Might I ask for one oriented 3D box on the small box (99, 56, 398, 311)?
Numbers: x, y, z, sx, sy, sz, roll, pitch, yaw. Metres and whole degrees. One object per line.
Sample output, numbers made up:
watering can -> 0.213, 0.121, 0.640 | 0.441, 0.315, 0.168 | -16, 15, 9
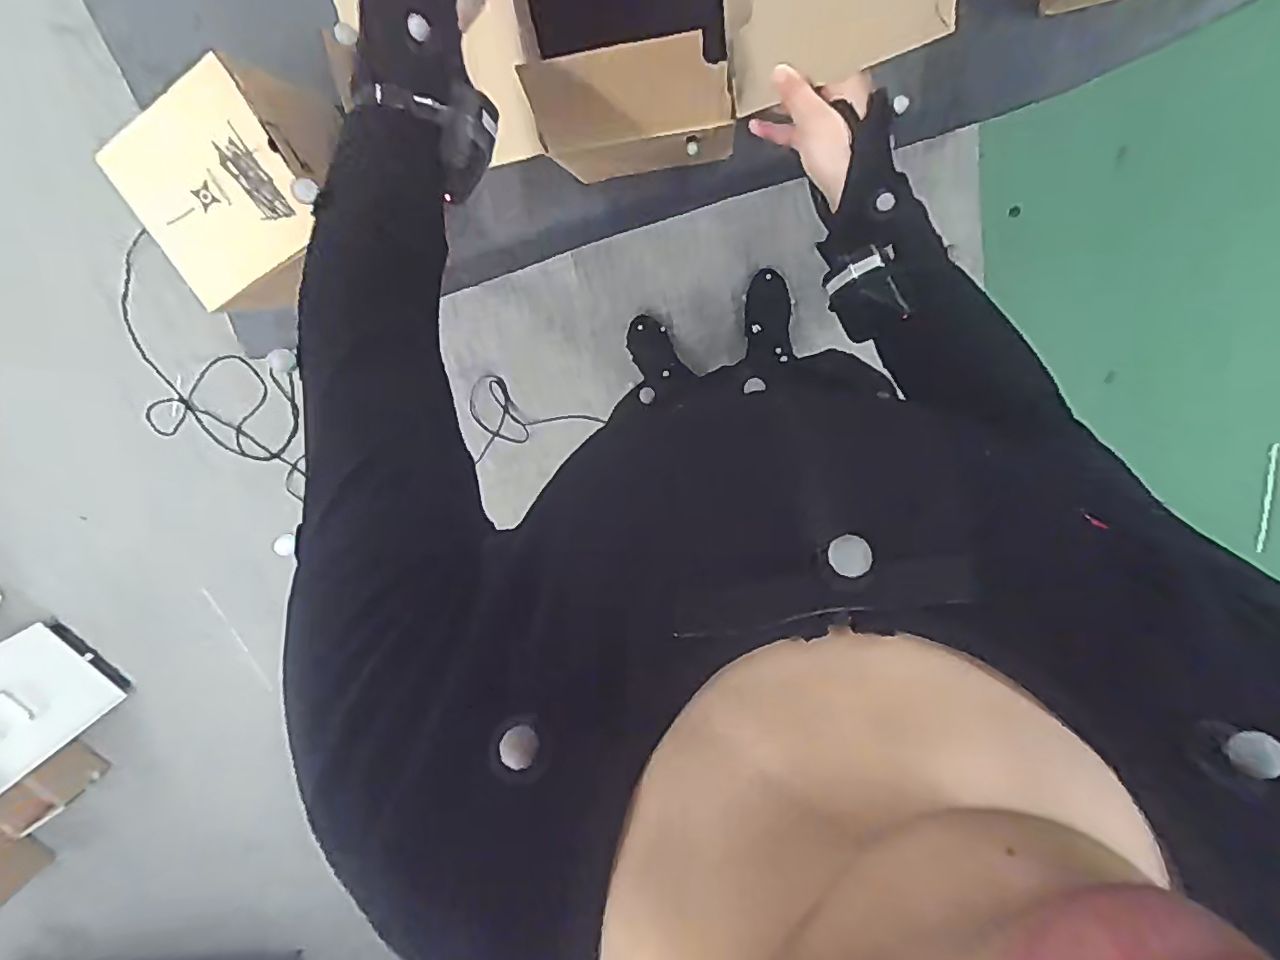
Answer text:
small box -> -0.401, -0.309, 0.595 | 0.179, 0.176, 0.168 | -23, 109, 15

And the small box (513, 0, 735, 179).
small box -> -0.005, -0.402, 0.517 | 0.179, 0.176, 0.168 | -6, 112, 9
